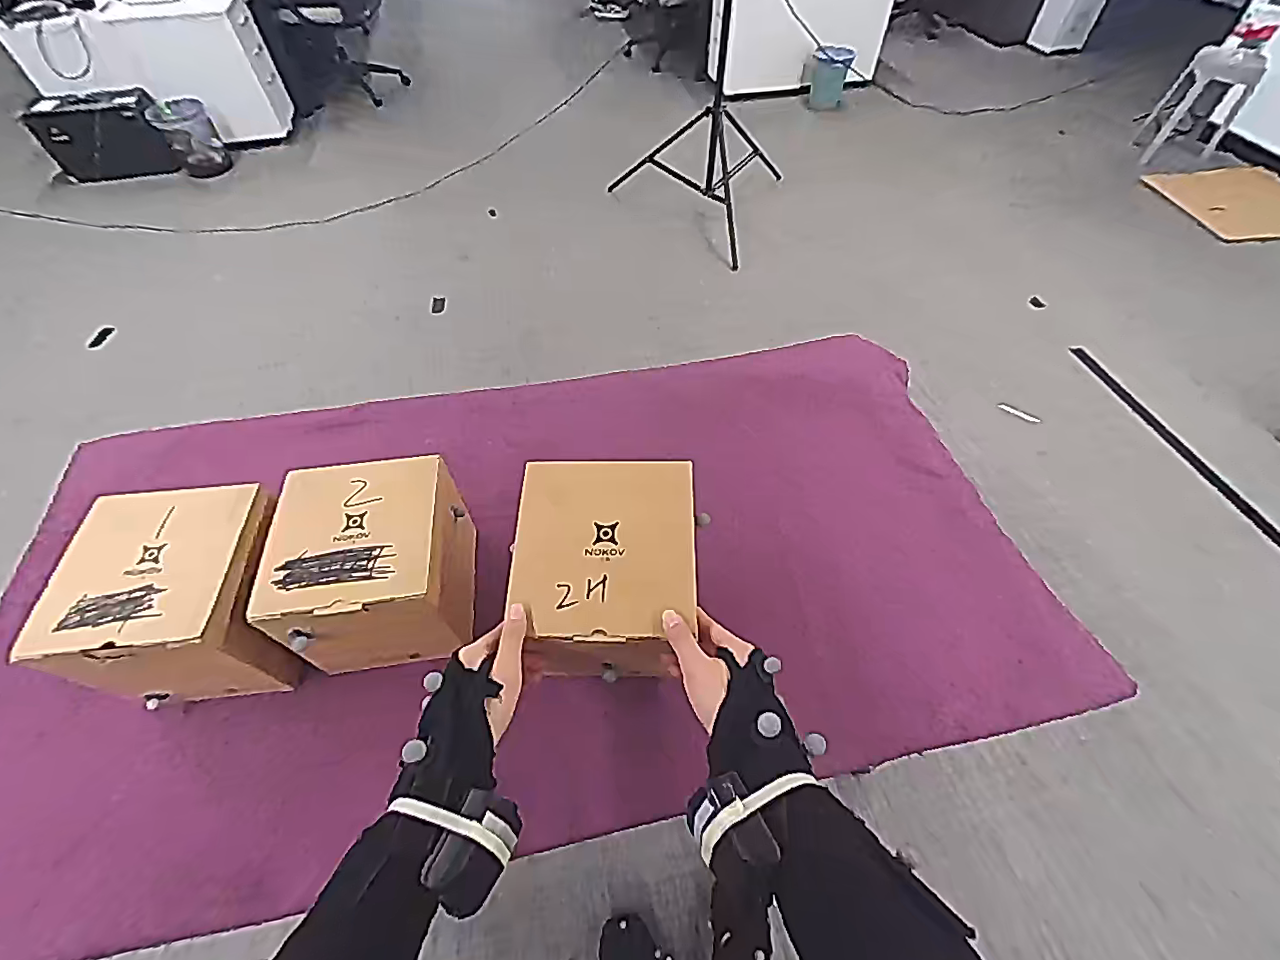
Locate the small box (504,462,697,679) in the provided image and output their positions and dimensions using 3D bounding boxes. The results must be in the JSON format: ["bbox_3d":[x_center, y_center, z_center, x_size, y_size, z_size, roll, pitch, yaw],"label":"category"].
[{"bbox_3d":[-0.029,0.098,0.561,0.168,0.176,0.179,0,60,3],"label":"small box"}]
